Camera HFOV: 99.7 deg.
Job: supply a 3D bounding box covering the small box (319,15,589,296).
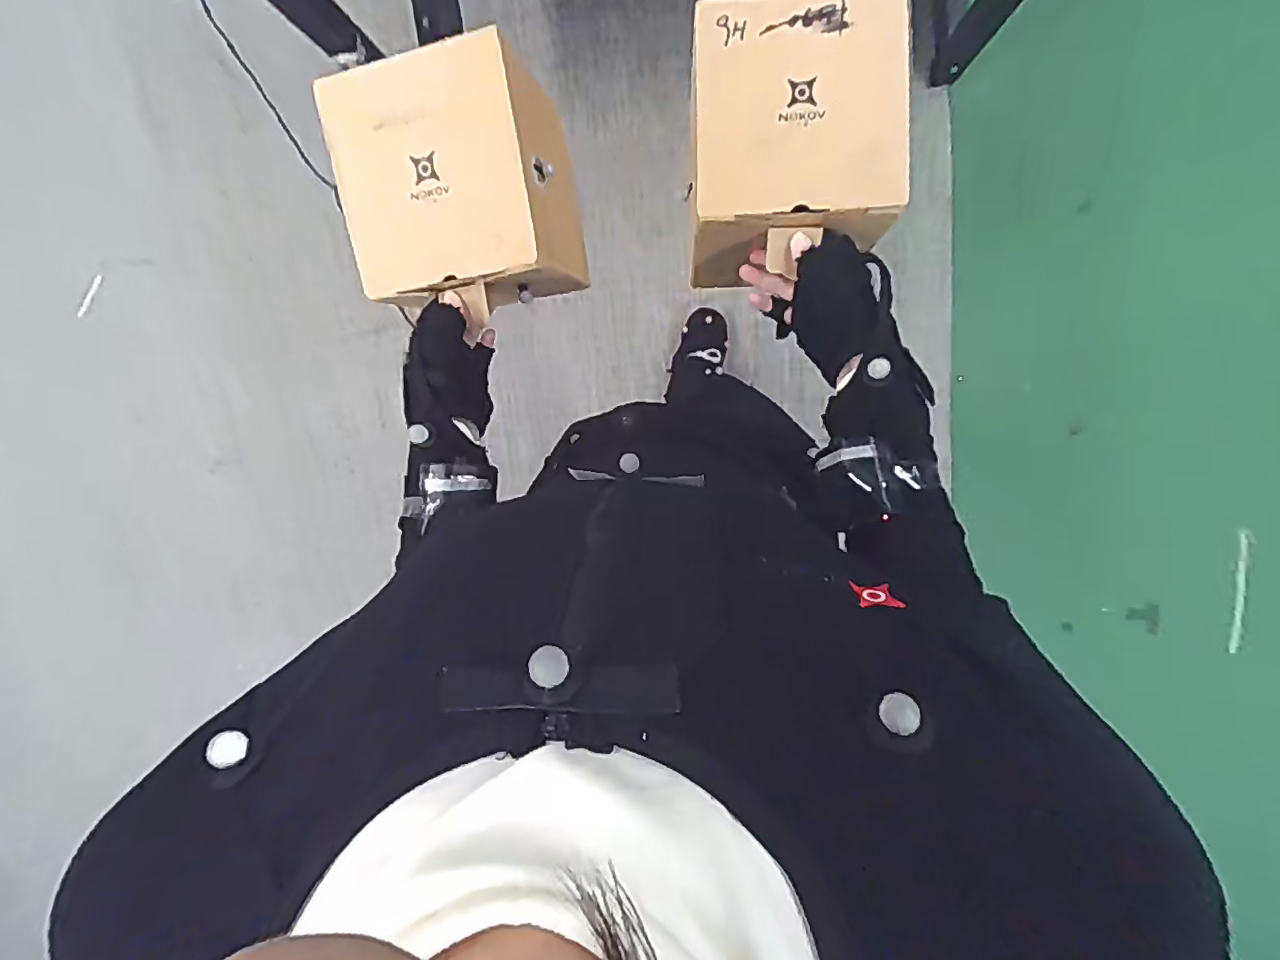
[{"bbox_3d":[-0.159,-0.282,0.523,0.168,0.176,0.179,-7,101,12],"label":"small box"}]
